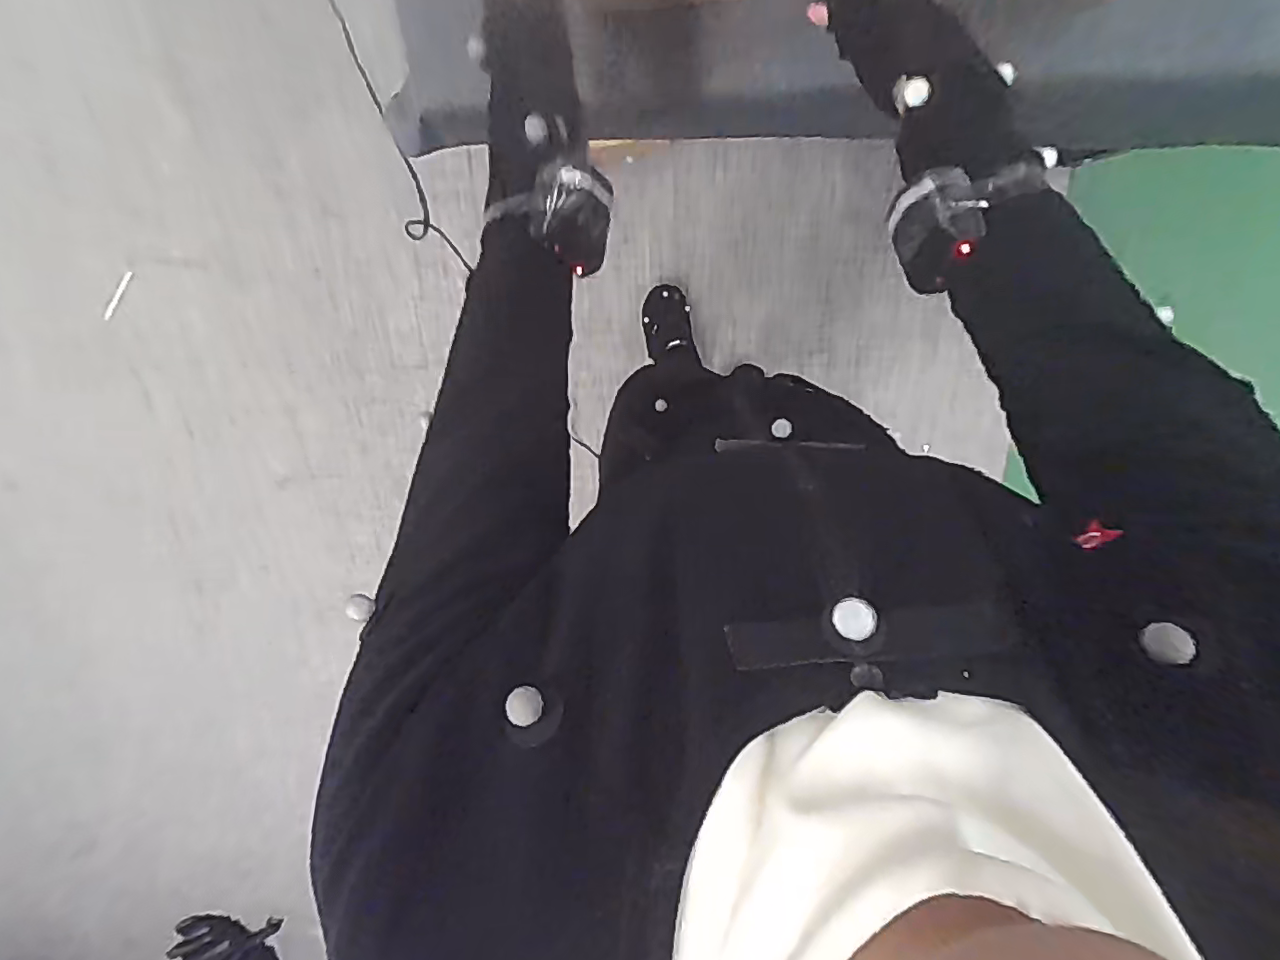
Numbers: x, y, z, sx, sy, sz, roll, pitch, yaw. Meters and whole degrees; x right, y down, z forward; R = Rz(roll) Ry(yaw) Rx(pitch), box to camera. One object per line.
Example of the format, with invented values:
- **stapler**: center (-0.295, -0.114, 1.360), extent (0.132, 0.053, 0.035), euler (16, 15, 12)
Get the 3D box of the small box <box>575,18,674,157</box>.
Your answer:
- **small box**: center (-0.028, -0.775, 1.087), extent (0.168, 0.176, 0.179), euler (-9, 112, 3)
